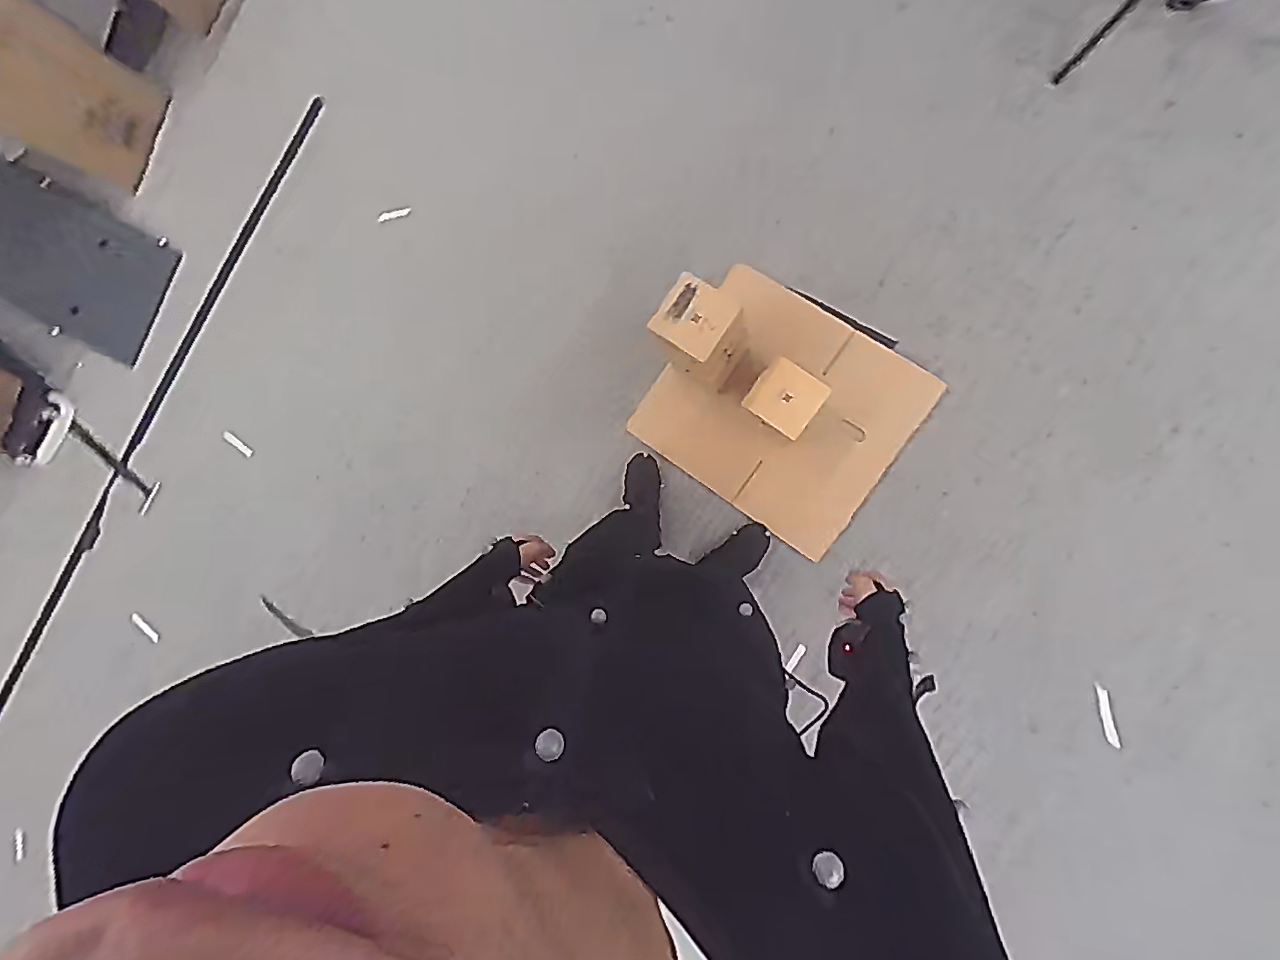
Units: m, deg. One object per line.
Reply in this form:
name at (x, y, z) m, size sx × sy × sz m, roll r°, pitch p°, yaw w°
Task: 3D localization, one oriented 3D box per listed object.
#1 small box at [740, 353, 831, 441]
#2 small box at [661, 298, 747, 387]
small box at (0.396, -0.221, 1.491) m, size 0.179 × 0.176 × 0.168 m, roll 37°, pitch 96°, yaw 11°
small box at (0.190, -0.382, 1.539) m, size 0.179 × 0.176 × 0.168 m, roll 36°, pitch 95°, yaw 12°
